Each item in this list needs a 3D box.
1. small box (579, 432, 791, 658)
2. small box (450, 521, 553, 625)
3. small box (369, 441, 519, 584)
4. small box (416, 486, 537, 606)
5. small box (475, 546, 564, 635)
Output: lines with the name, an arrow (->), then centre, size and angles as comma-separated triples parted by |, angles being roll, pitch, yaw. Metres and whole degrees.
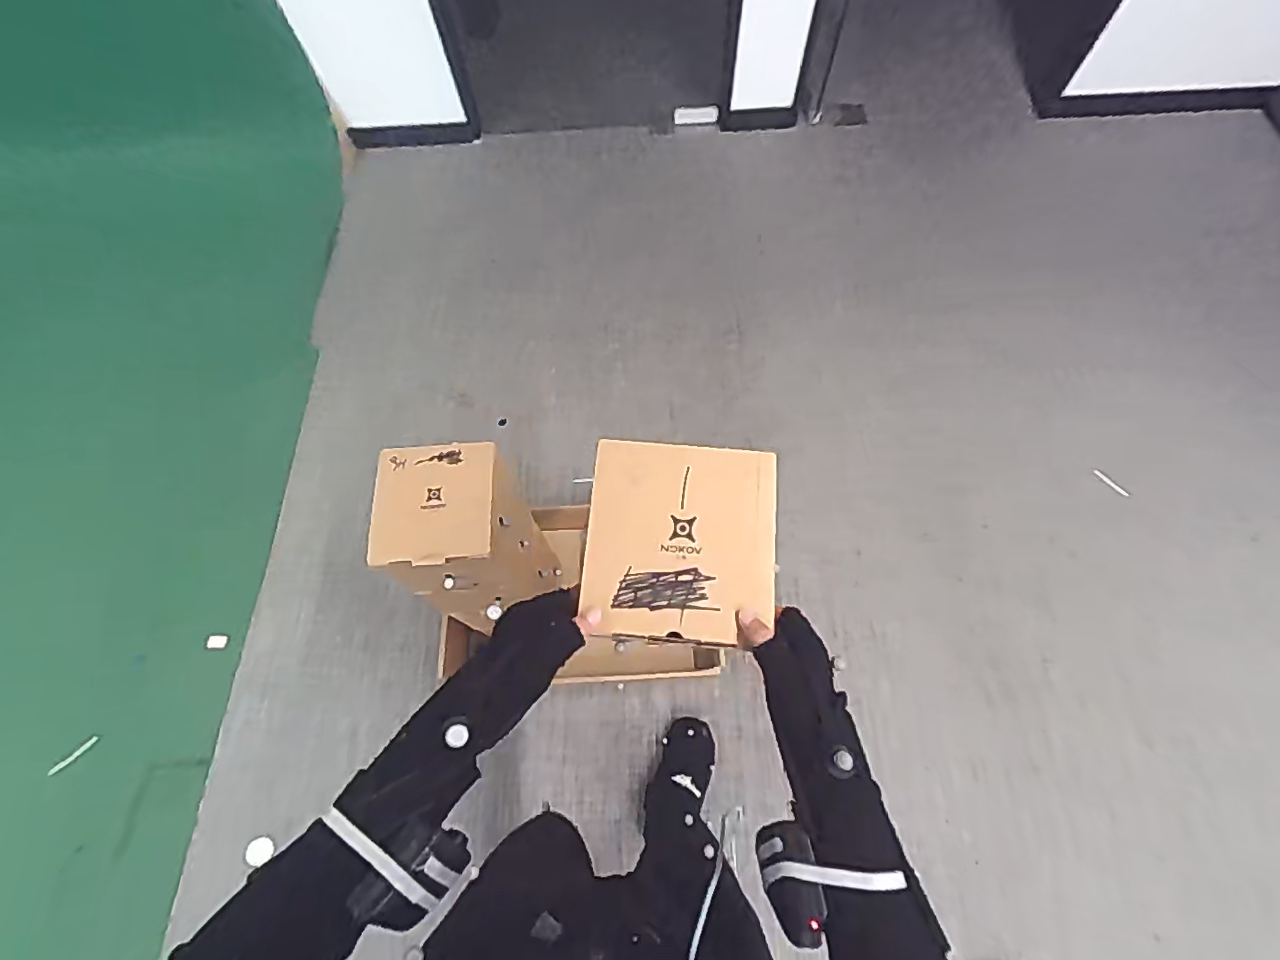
small box -> 0.041, 0.072, 0.542 | 0.168, 0.176, 0.179 | 9, 74, 1
small box -> -0.275, 0.195, 1.115 | 0.168, 0.176, 0.179 | -2, 67, 0
small box -> -0.281, 0.057, 0.818 | 0.168, 0.176, 0.179 | -3, 68, -2
small box -> -0.280, 0.125, 0.967 | 0.168, 0.176, 0.179 | -4, 67, -1
small box -> -0.272, 0.261, 1.263 | 0.168, 0.176, 0.179 | -1, 67, 1
